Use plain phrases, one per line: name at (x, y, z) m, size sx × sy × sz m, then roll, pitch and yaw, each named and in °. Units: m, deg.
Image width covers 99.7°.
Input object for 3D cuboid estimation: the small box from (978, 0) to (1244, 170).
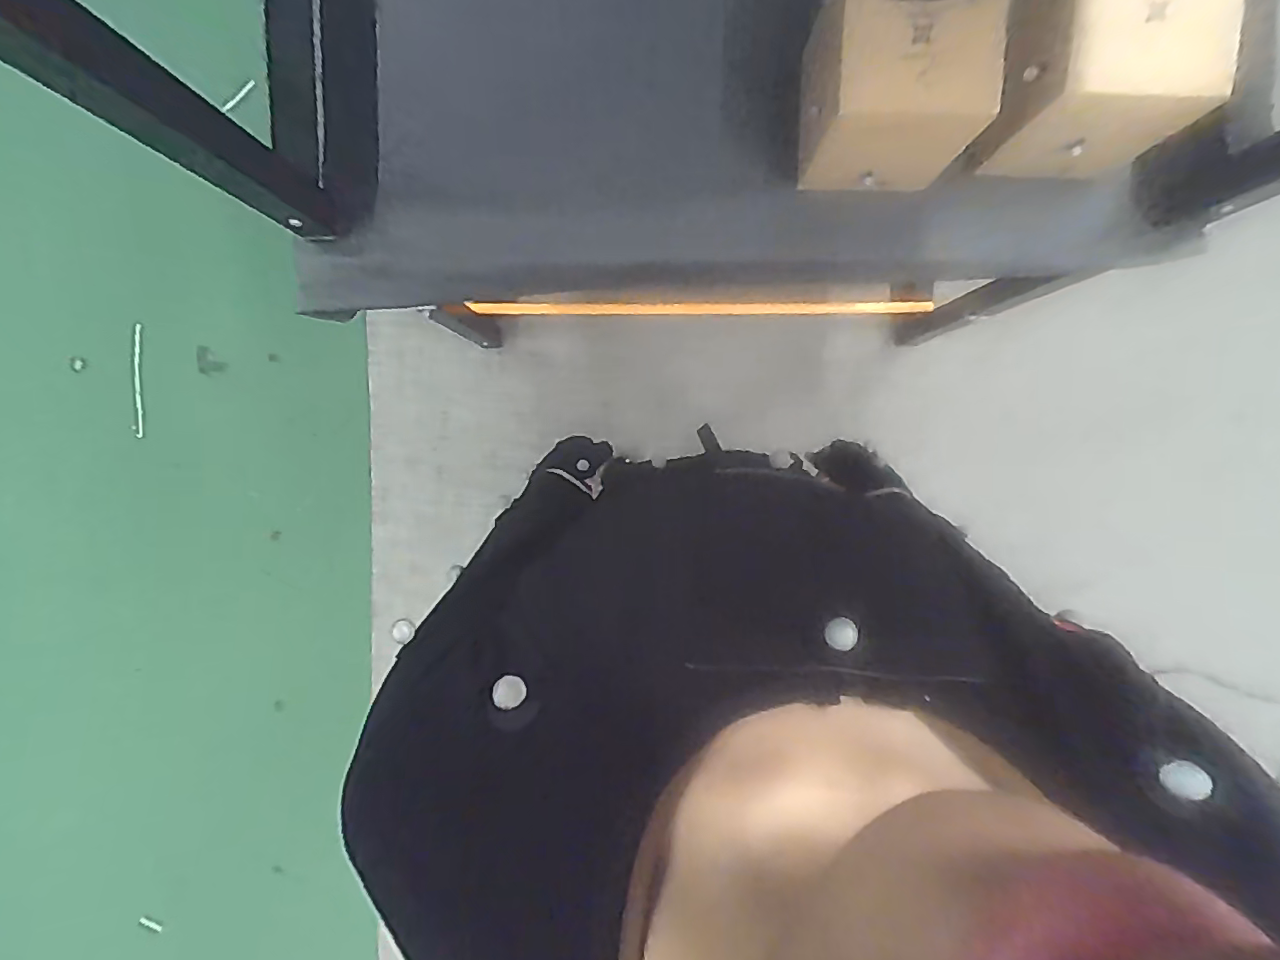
small box at (0.520, -0.484, 0.620) m, size 0.168 × 0.176 × 0.179 m, roll 3°, pitch 93°, yaw 2°
